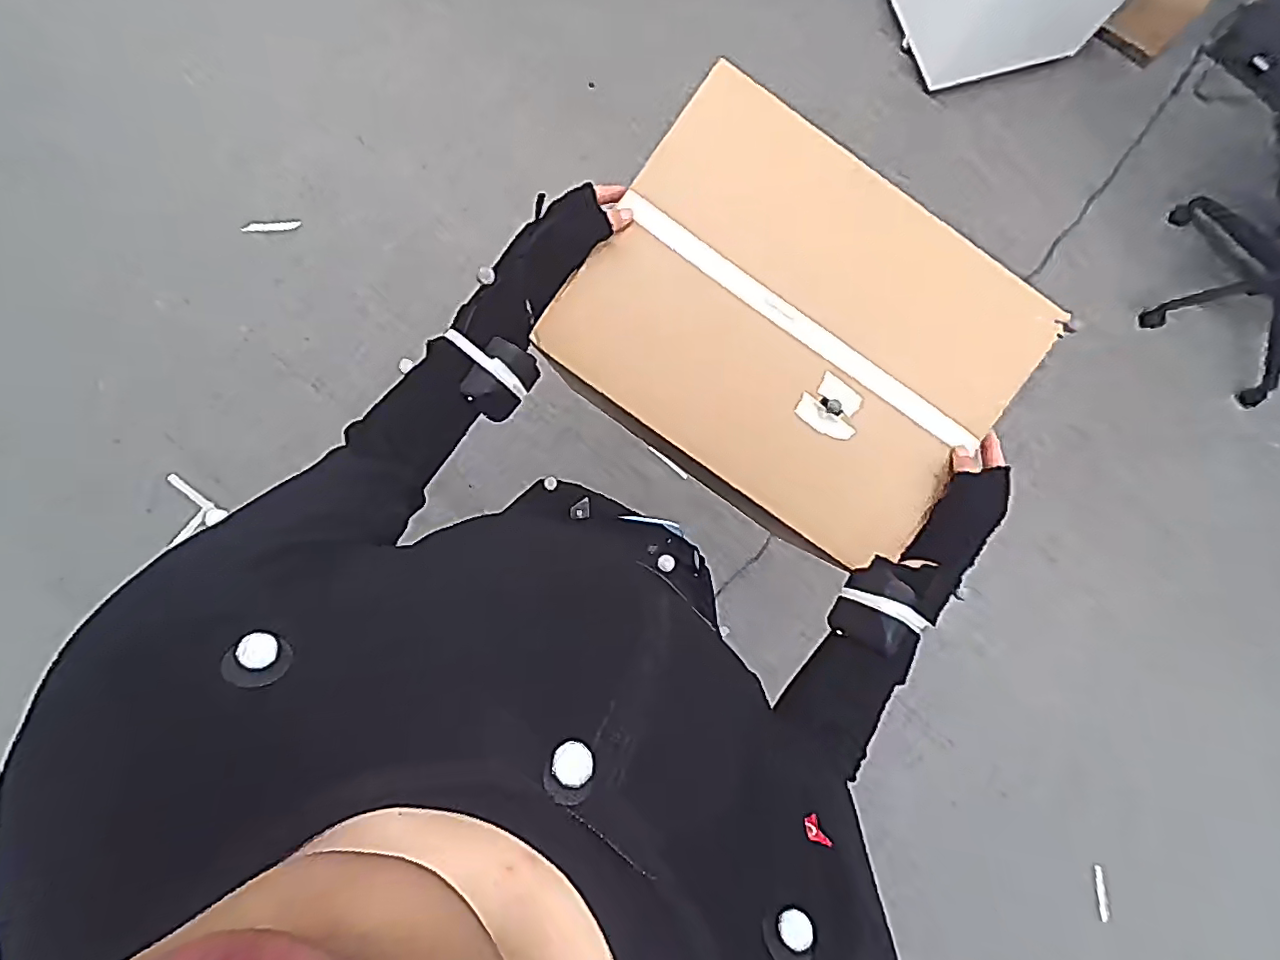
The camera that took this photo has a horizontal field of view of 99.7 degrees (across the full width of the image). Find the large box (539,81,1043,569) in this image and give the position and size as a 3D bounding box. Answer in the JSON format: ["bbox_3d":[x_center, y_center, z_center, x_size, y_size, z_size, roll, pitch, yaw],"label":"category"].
[{"bbox_3d":[0.142,-0.150,0.668,0.408,0.320,0.320,35,92,-3],"label":"large box"}]
